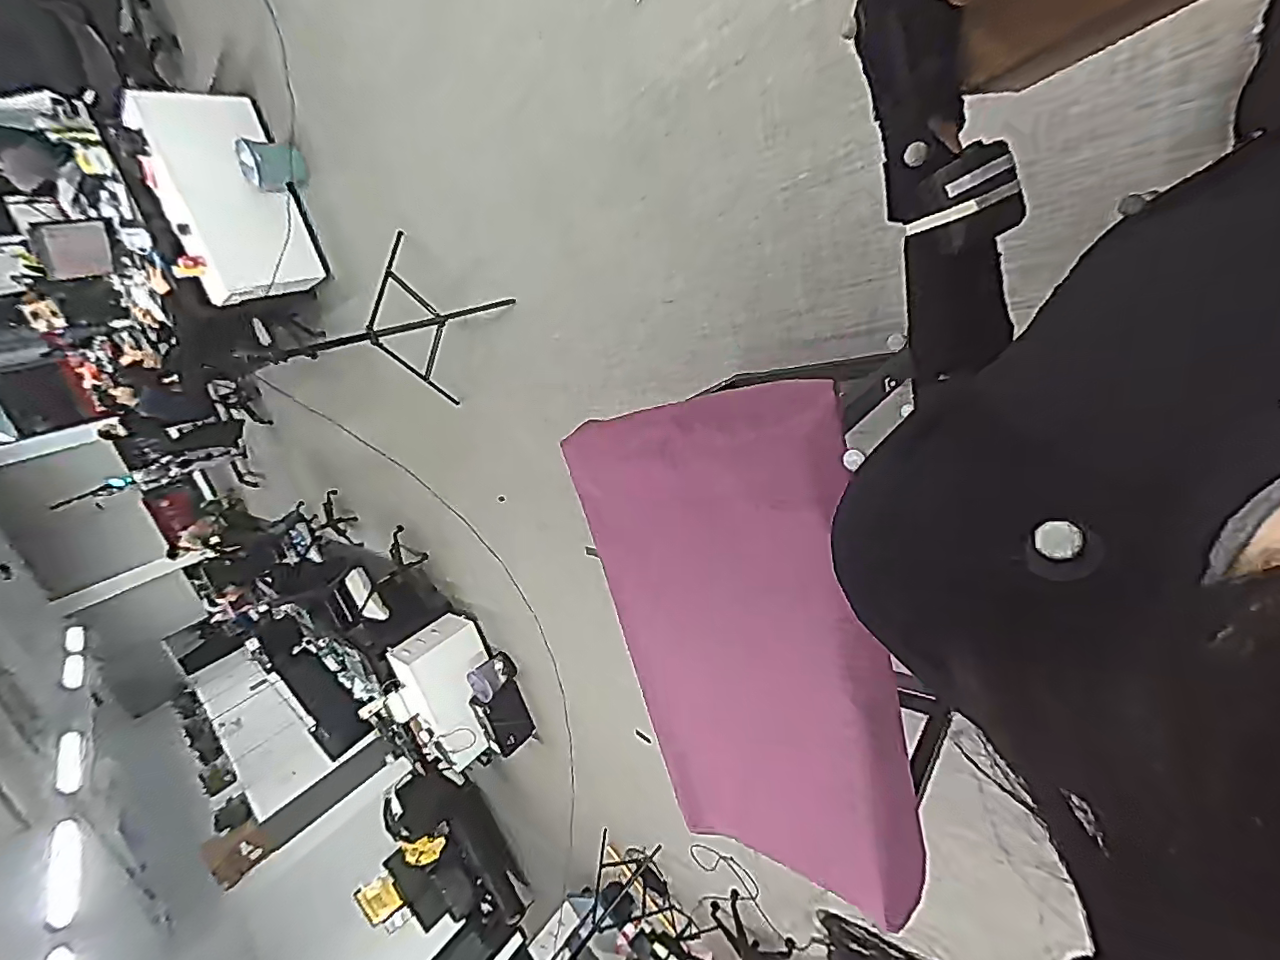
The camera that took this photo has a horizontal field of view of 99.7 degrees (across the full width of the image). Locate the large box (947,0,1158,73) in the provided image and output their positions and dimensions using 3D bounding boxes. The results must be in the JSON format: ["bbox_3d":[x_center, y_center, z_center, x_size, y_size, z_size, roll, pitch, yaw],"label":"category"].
[{"bbox_3d":[0.385,-0.516,0.299,0.408,0.320,0.320,-11,113,46],"label":"large box"}]
